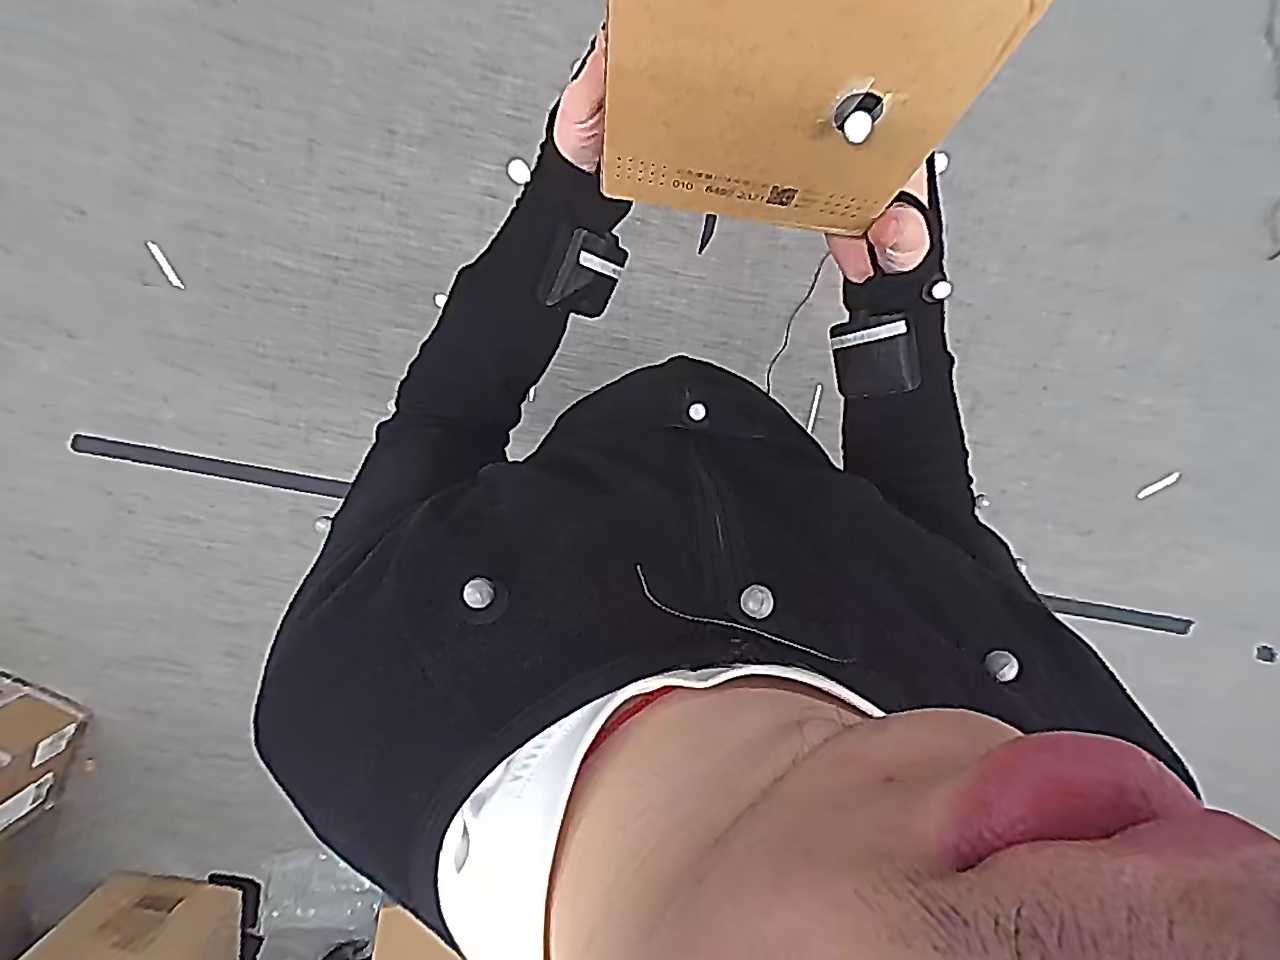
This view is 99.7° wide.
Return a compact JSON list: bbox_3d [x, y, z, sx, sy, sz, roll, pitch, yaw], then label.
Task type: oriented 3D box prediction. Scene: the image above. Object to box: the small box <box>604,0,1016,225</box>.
[{"bbox_3d":[0.074,-0.264,0.276,0.168,0.176,0.179,8,80,-6],"label":"small box"}]
